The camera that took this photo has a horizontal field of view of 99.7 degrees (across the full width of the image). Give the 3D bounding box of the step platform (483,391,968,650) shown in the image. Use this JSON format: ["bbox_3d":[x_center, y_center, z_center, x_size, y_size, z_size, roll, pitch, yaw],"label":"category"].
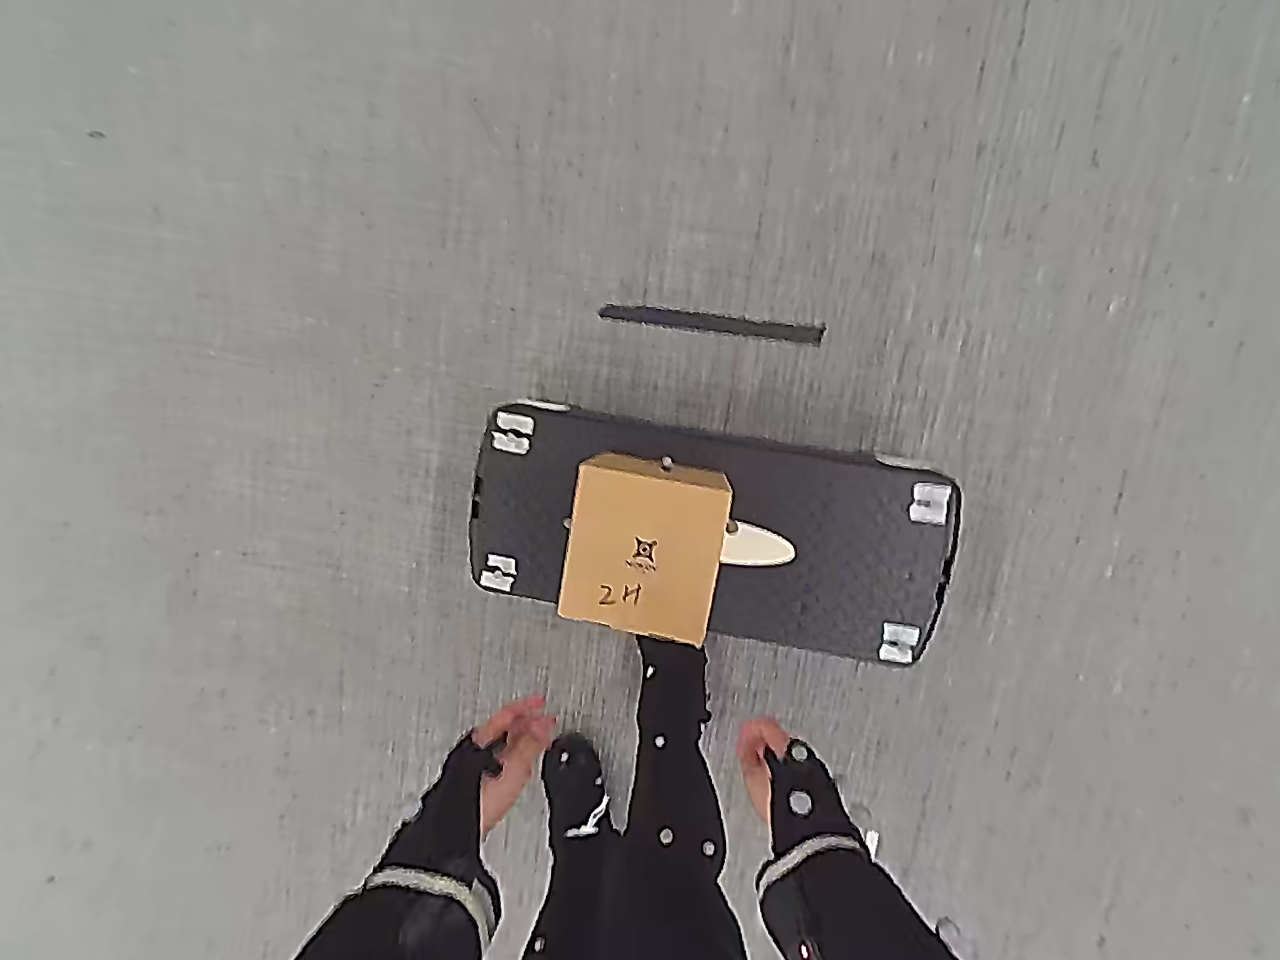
[{"bbox_3d":[0.113,0.049,0.832,0.684,0.204,0.286,9,97,5],"label":"step platform"}]

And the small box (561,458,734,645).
[{"bbox_3d":[0.012,0.074,0.669,0.168,0.176,0.179,11,98,5],"label":"small box"}]
